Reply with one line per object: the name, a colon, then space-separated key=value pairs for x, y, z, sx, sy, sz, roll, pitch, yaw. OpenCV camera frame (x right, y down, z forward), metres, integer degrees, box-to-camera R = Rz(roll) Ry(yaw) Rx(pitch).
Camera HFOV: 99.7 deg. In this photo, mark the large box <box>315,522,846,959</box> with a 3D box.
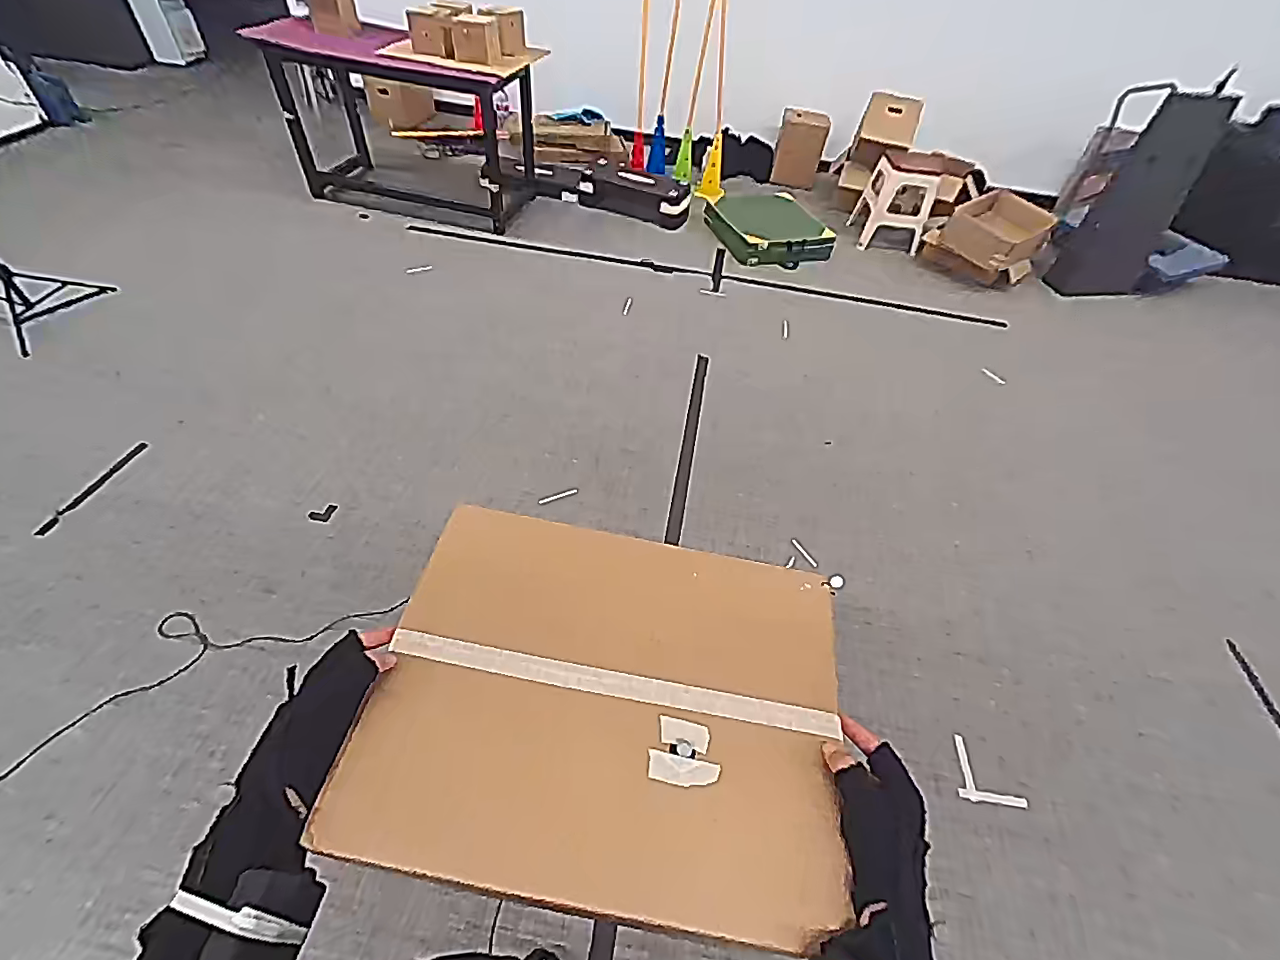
large box: x=-0.041 y=0.287 z=0.600 sx=0.408 sy=0.320 sz=0.320 roll=11 pitch=51 yaw=1
